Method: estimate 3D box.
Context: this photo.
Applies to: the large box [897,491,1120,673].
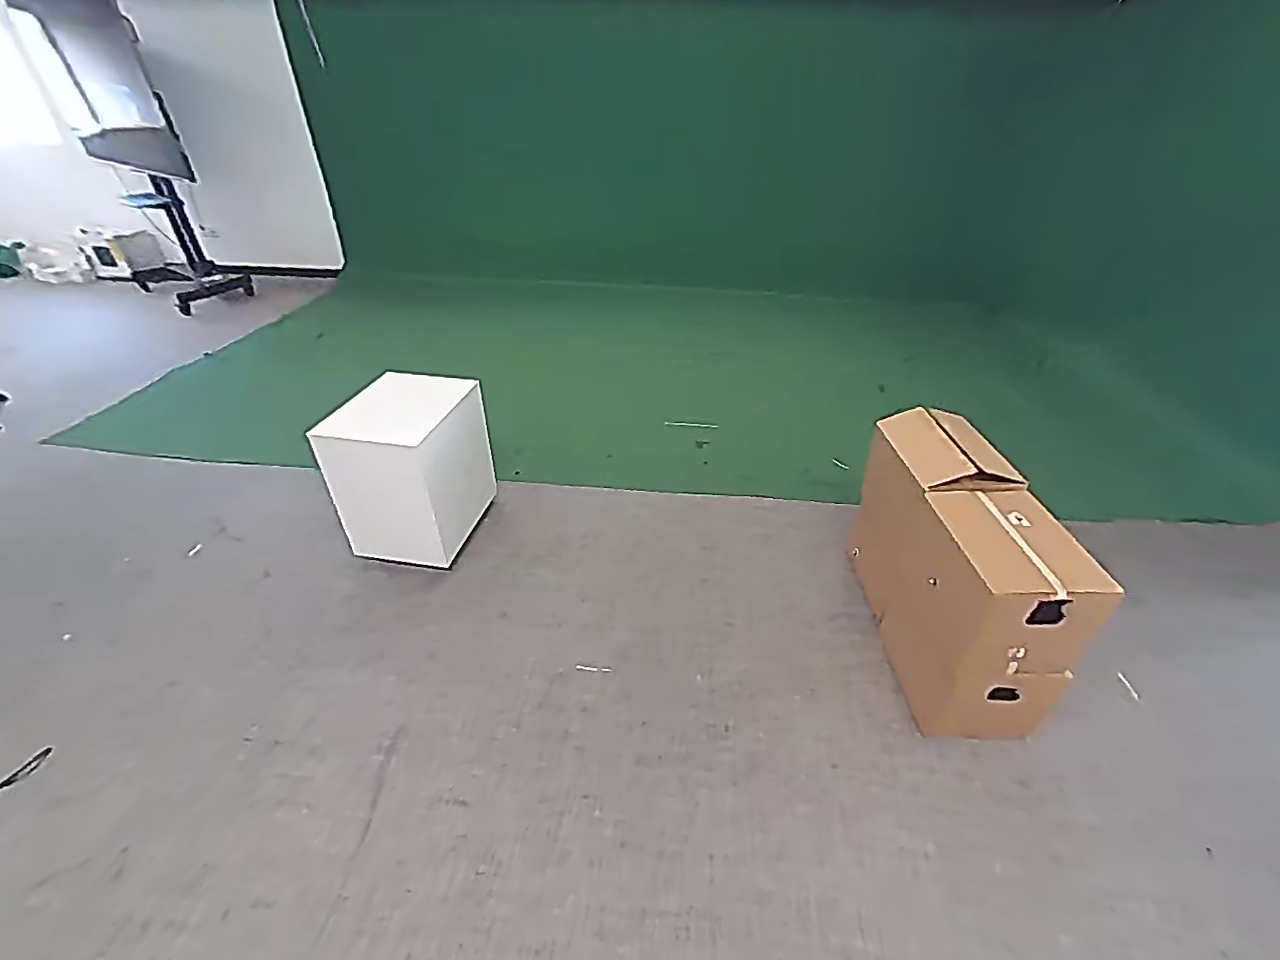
[{"bbox_3d":[0.977,0.274,1.507,0.320,0.320,0.408,0,35,1],"label":"large box"}]
